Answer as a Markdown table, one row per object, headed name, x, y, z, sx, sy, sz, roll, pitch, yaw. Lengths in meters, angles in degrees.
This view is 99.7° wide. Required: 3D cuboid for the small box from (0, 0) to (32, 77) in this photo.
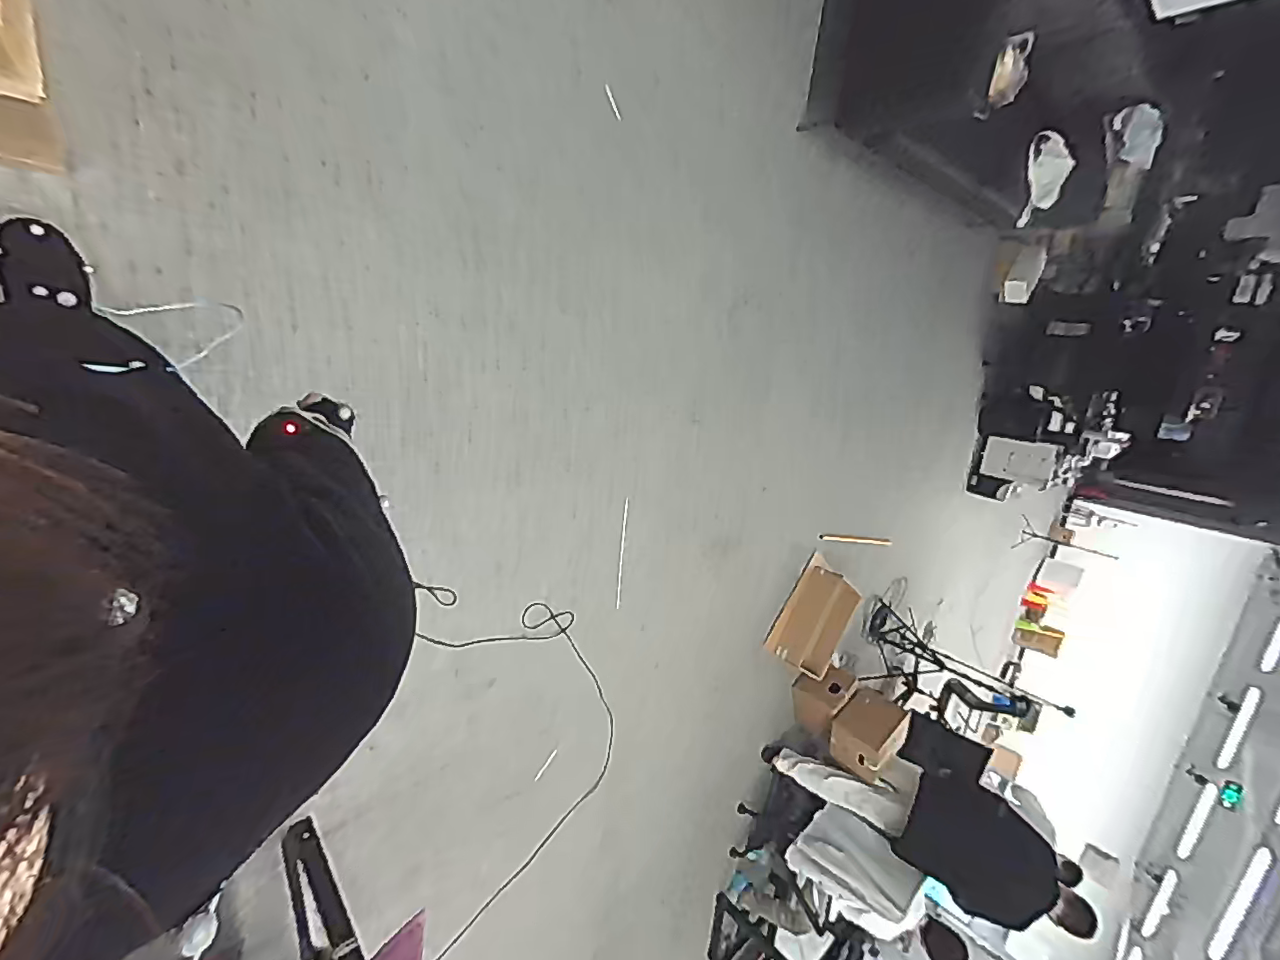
| name | x | y | z | sx | sy | sz | roll | pitch | yaw |
| --- | --- | --- | --- | --- | --- | --- | --- | --- | --- |
| small box | -0.703 | -0.529 | 0.504 | 0.168 | 0.176 | 0.179 | 1 | 105 | -43 |
